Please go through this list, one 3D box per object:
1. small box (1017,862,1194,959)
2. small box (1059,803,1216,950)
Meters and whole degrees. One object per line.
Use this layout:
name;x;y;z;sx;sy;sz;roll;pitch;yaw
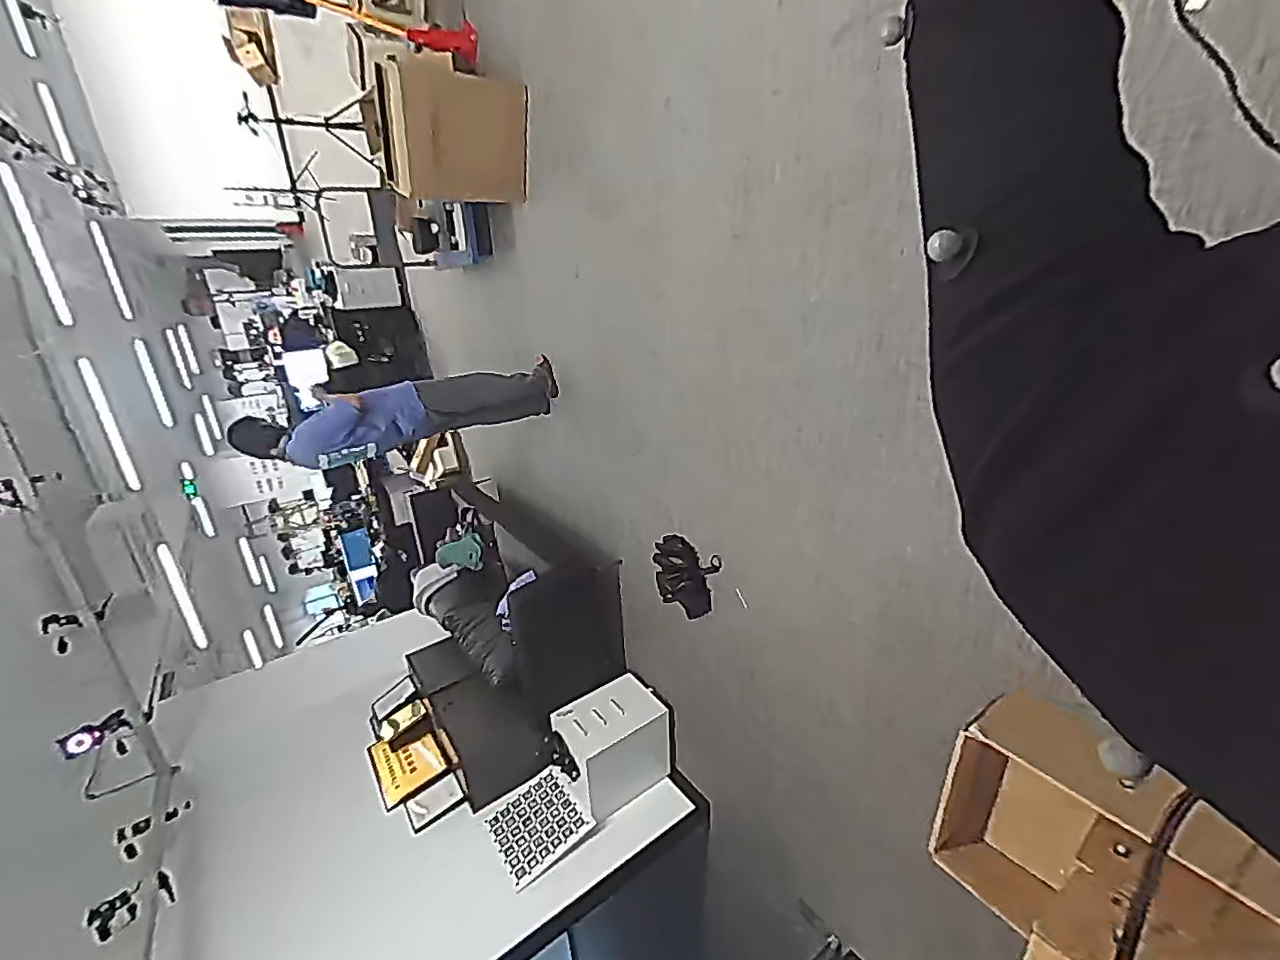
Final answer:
small box;0.723;0.762;0.850;0.168;0.176;0.179;25;125;51
small box;0.851;0.715;0.940;0.168;0.176;0.179;25;127;51
